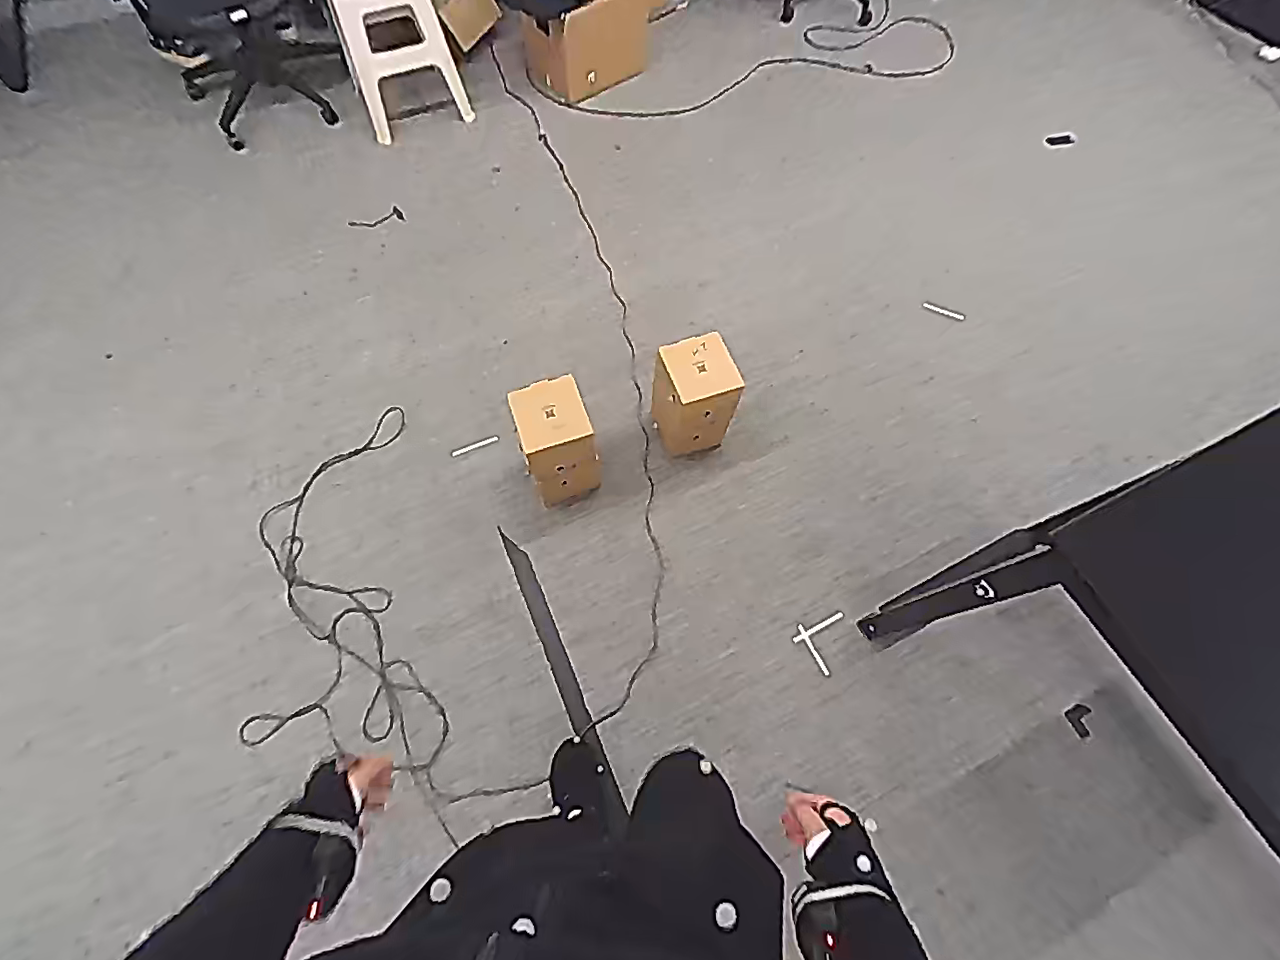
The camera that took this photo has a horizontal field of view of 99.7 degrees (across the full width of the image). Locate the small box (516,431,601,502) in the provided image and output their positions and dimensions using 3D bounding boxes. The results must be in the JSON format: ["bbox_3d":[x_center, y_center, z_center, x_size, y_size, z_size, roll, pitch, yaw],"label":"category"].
[{"bbox_3d":[-0.218,-0.060,1.489,0.179,0.176,0.168,-23,70,-10],"label":"small box"}]

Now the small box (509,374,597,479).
[{"bbox_3d":[-0.211,-0.128,1.340,0.168,0.176,0.179,-19,70,-9],"label":"small box"}]

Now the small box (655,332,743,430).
[{"bbox_3d":[0.145,-0.246,1.400,0.168,0.176,0.179,-18,68,-11],"label":"small box"}]

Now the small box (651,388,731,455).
[{"bbox_3d":[0.140,-0.192,1.556,0.179,0.176,0.168,-15,68,-8],"label":"small box"}]
